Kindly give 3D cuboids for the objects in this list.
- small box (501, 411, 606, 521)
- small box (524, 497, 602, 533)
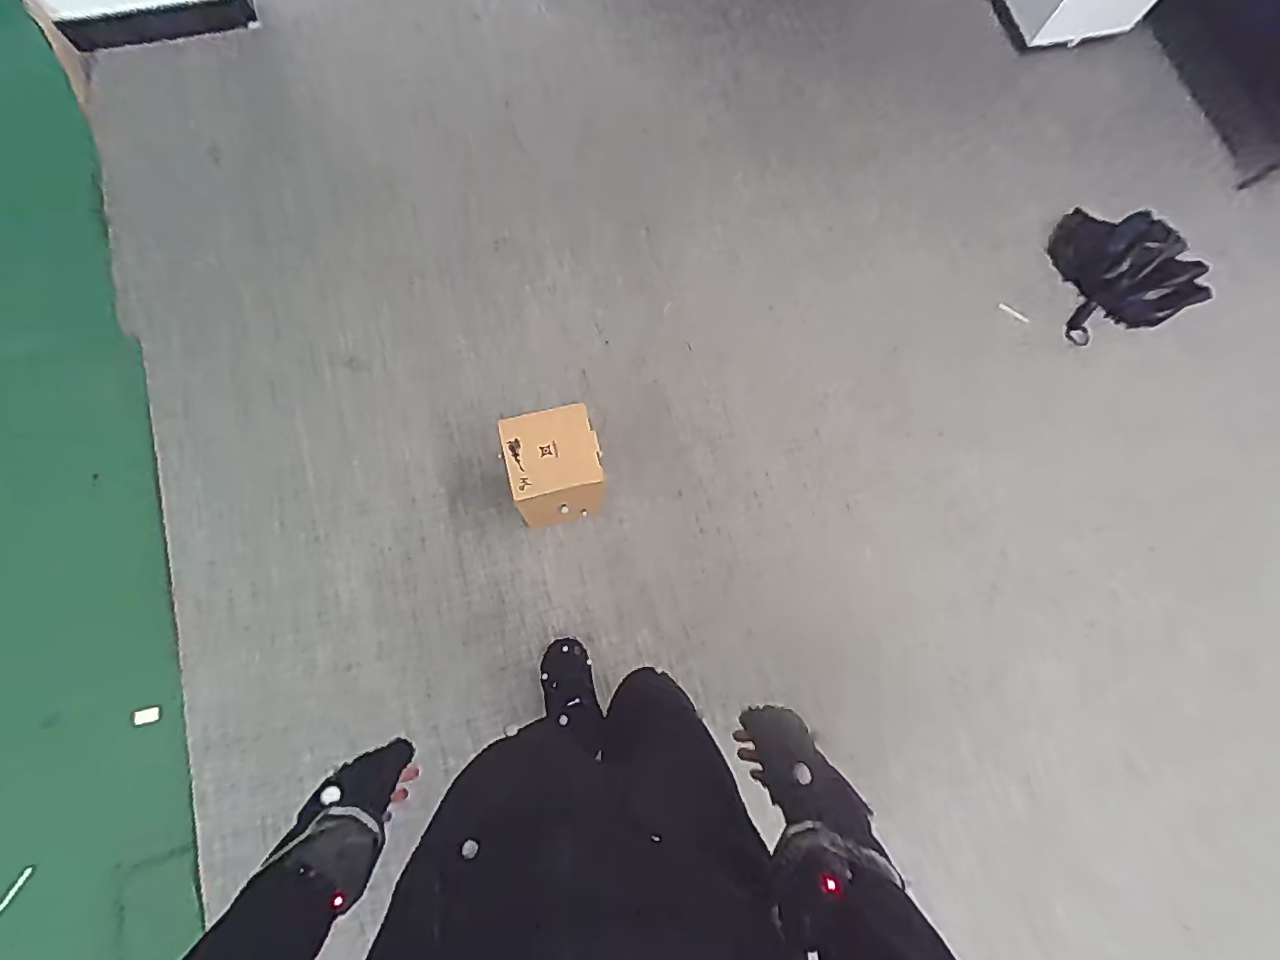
[{"bbox_3d":[-0.176,-0.023,1.115,0.179,0.176,0.168,-13,76,-9],"label":"small box"},{"bbox_3d":[-0.193,0.017,1.273,0.179,0.176,0.168,-15,77,-7],"label":"small box"}]
